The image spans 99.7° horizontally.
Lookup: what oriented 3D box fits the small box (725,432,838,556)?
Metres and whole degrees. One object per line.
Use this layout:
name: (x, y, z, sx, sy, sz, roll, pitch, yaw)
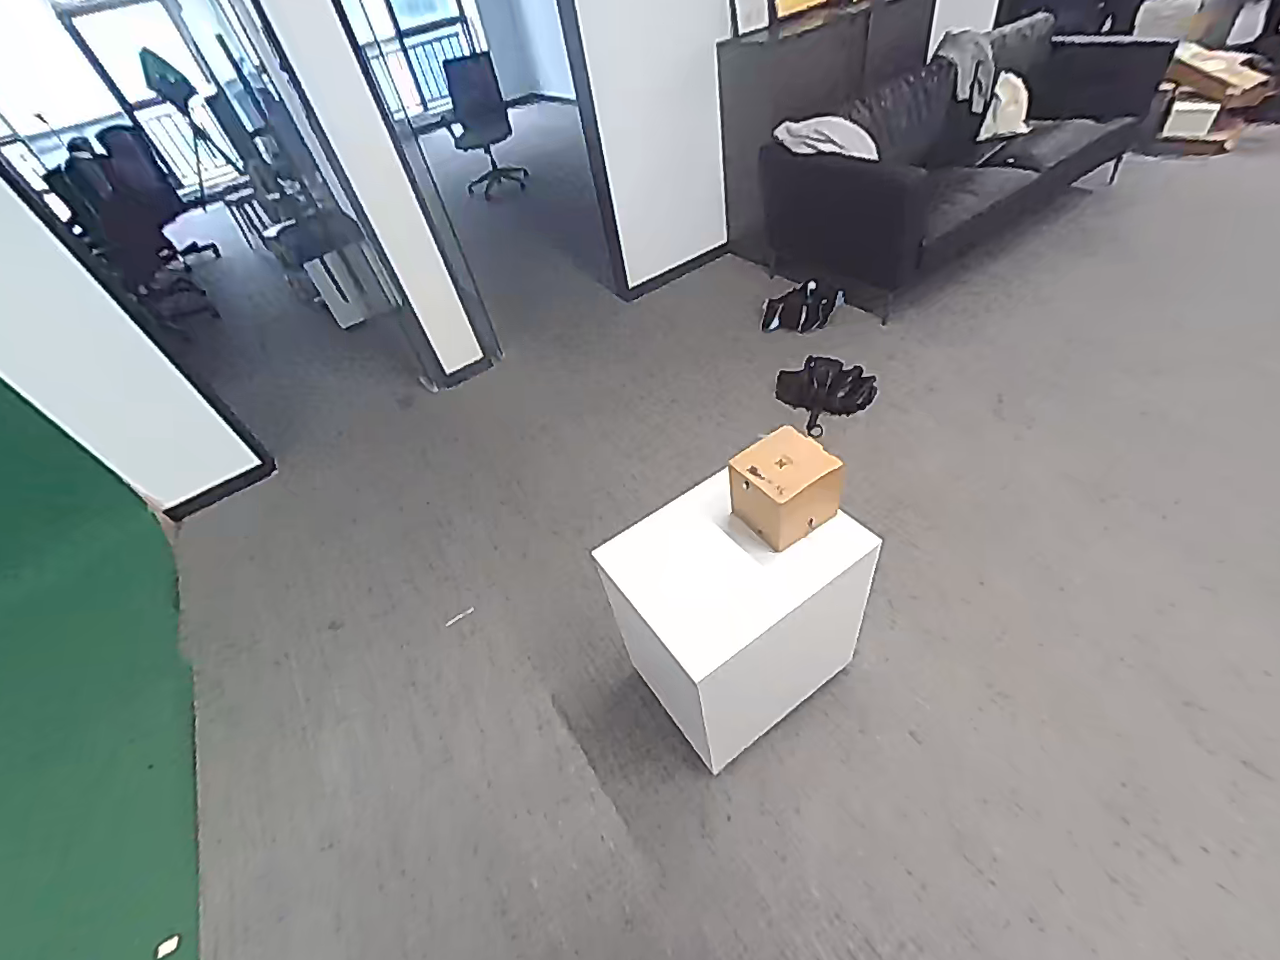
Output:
small box: (0.299, 0.031, 1.183, 0.179, 0.176, 0.168, -29, 47, -19)
